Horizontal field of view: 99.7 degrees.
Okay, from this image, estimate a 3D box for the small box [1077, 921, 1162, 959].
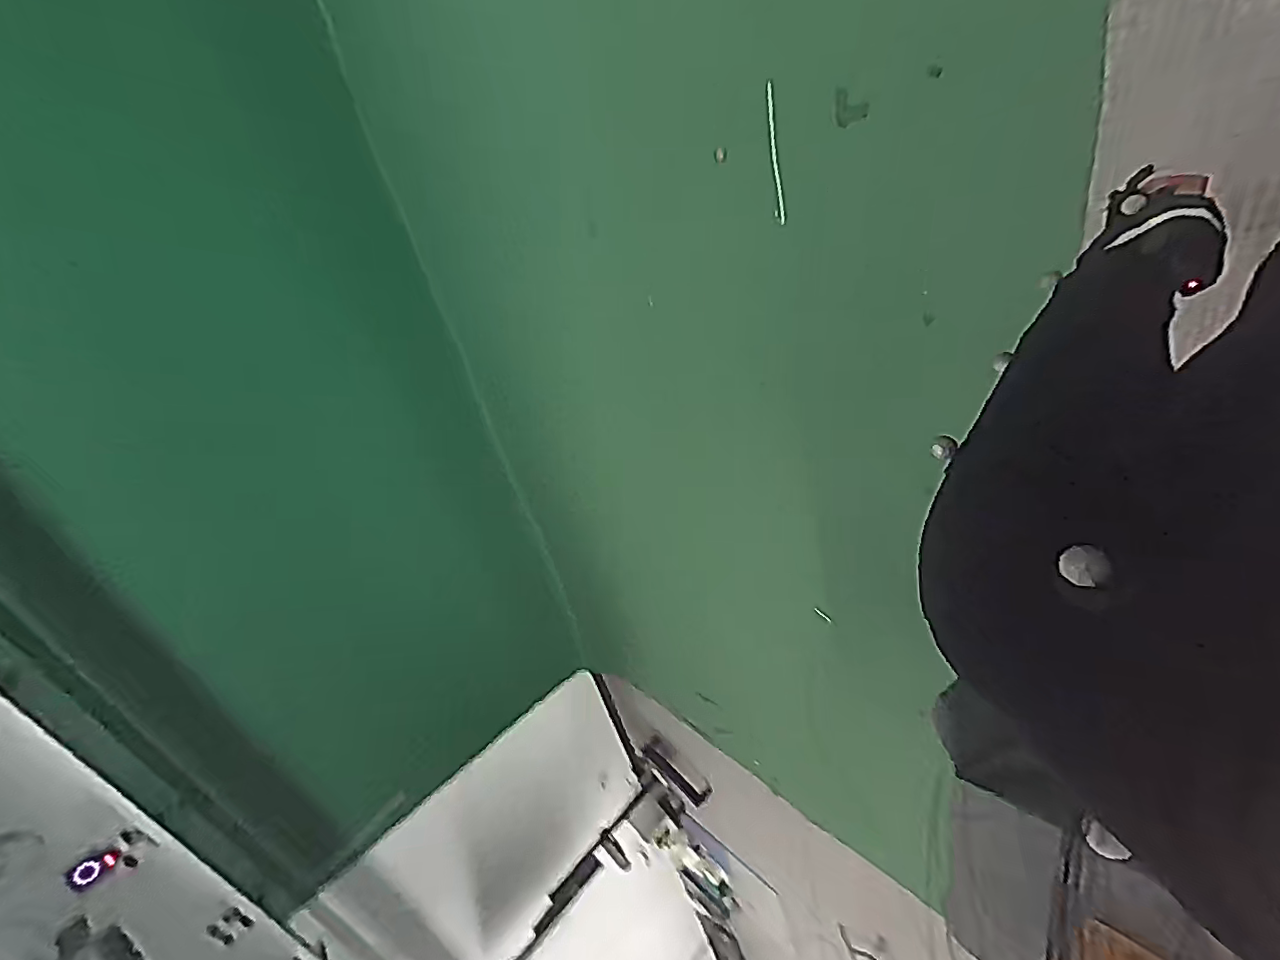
[{"bbox_3d":[0.755,0.831,0.817,0.168,0.176,0.179,16,133,49],"label":"small box"}]
